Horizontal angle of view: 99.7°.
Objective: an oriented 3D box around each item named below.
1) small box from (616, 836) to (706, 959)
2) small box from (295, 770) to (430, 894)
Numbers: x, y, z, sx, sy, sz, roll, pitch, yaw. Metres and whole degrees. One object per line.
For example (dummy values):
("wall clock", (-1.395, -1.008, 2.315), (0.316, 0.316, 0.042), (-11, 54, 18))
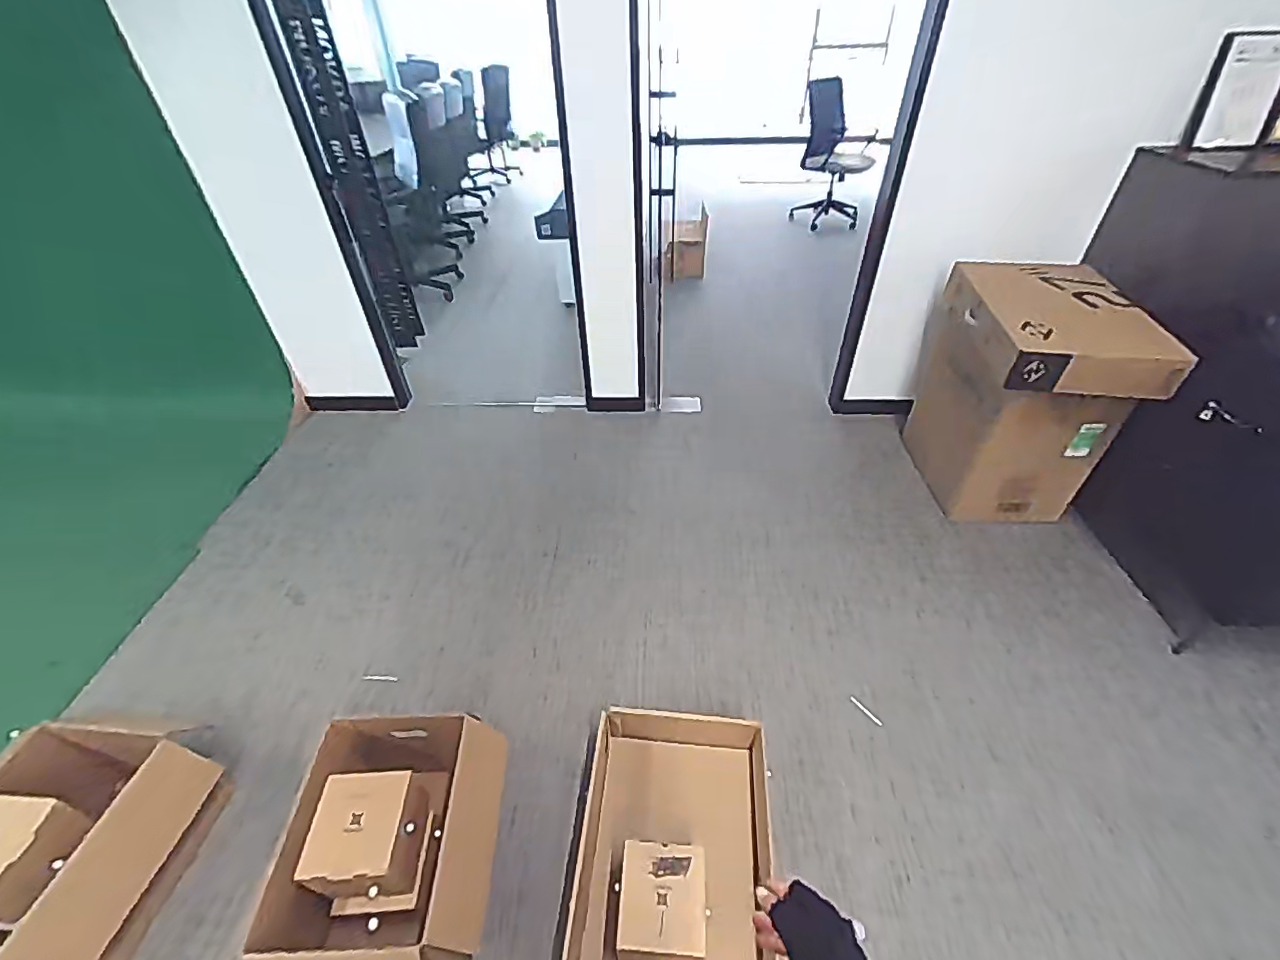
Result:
("small box", (0.043, 0.853, 1.090), (0.168, 0.176, 0.179), (3, 41, 4))
("small box", (-0.534, 0.701, 1.072), (0.168, 0.176, 0.179), (-2, 43, -2))
